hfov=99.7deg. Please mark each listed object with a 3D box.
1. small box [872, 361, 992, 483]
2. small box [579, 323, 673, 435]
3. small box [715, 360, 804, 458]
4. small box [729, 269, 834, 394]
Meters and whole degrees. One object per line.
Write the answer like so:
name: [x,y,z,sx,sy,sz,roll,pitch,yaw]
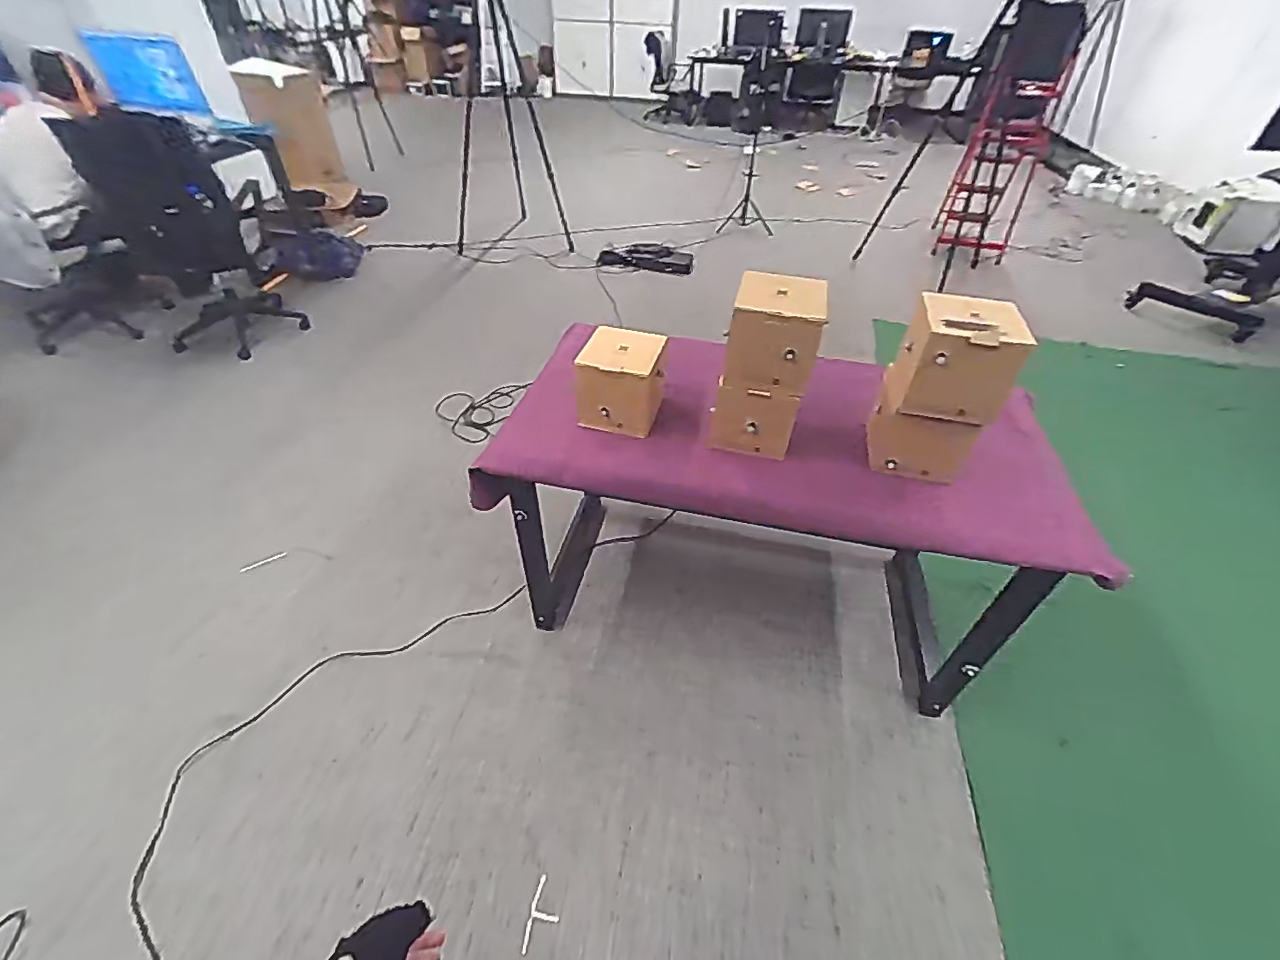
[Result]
small box: [0.598,-0.118,1.128,0.168,0.176,0.179,14,45,10]
small box: [-0.031,-0.230,1.225,0.168,0.176,0.179,13,45,11]
small box: [0.263,-0.172,1.175,0.168,0.176,0.179,13,45,10]
small box: [0.275,-0.290,1.062,0.168,0.176,0.179,12,44,10]
